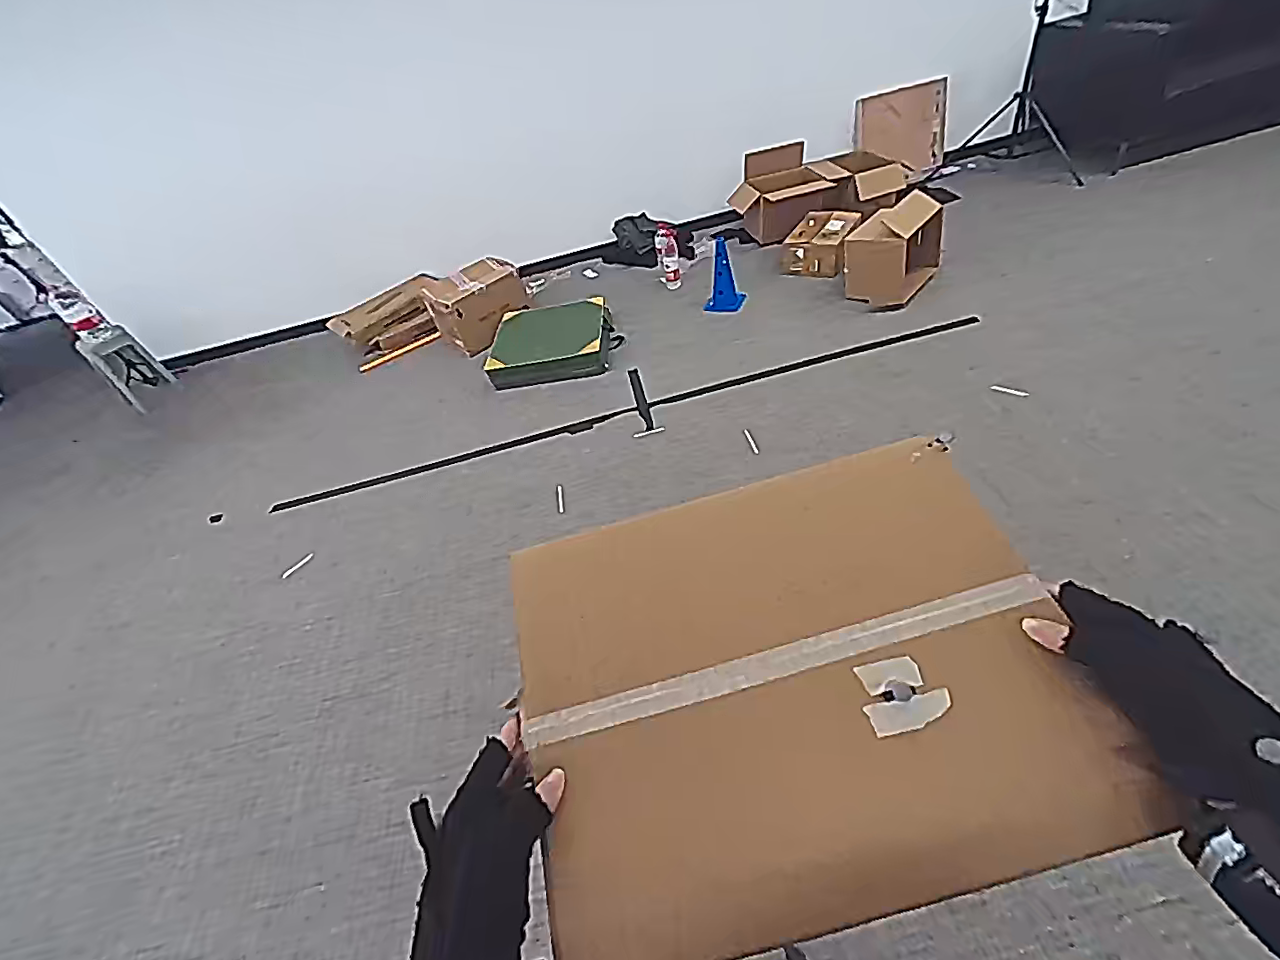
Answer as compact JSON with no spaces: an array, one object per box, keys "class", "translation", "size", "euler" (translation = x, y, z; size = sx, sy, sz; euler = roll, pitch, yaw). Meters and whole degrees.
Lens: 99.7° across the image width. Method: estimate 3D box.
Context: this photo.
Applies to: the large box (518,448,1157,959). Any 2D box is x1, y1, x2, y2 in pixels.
[{"class":"large box","translation":[0.131,0.226,0.550],"size":[0.408,0.320,0.320],"euler":[-16,57,0]}]
